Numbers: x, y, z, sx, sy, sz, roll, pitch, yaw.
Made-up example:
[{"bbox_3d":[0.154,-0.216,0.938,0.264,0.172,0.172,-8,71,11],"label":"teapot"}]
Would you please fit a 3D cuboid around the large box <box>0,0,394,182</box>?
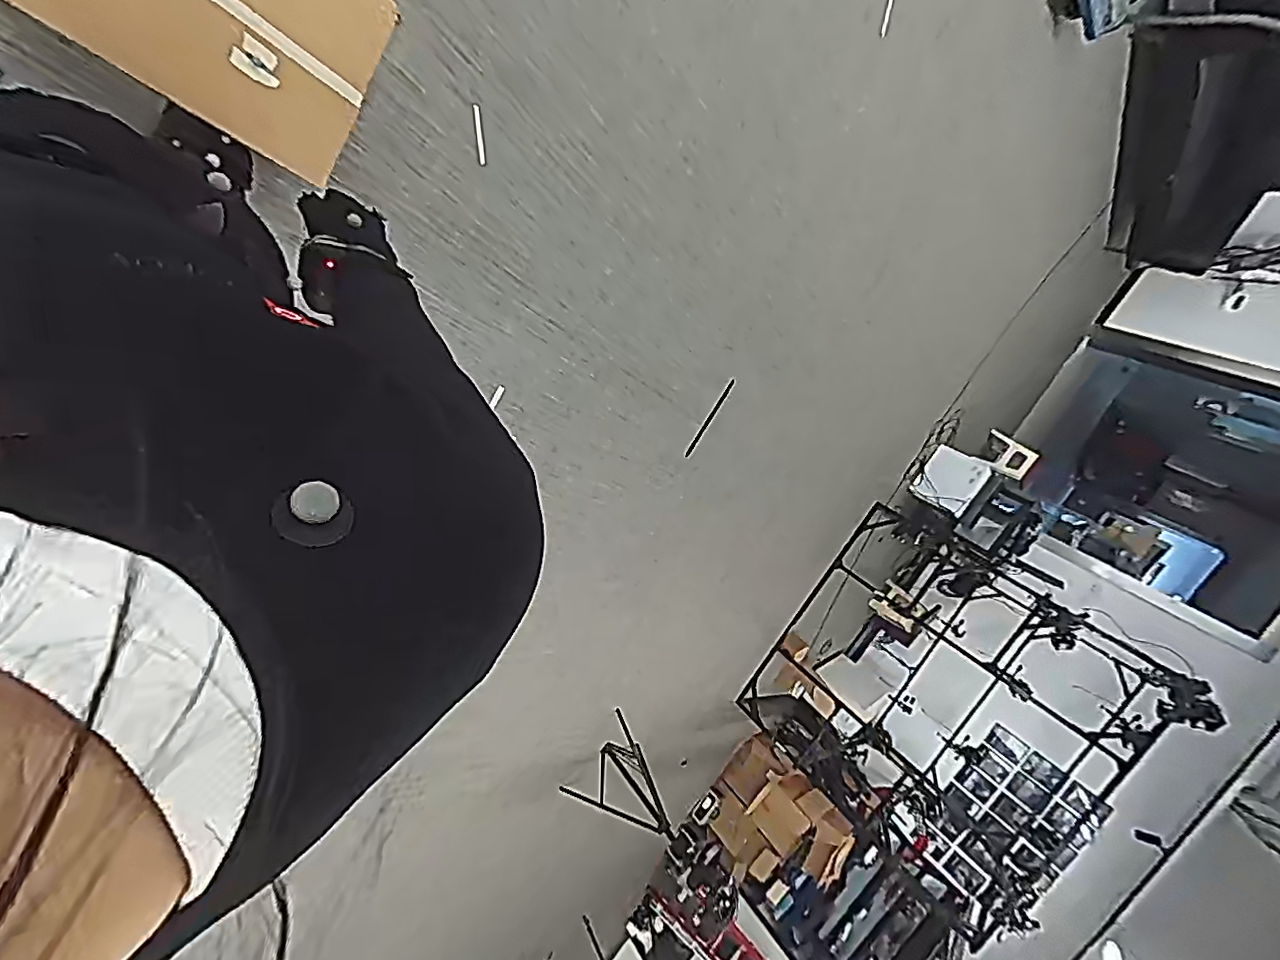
[{"bbox_3d":[-0.676,-0.737,0.817,0.408,0.320,0.320,20,106,-51],"label":"large box"}]
